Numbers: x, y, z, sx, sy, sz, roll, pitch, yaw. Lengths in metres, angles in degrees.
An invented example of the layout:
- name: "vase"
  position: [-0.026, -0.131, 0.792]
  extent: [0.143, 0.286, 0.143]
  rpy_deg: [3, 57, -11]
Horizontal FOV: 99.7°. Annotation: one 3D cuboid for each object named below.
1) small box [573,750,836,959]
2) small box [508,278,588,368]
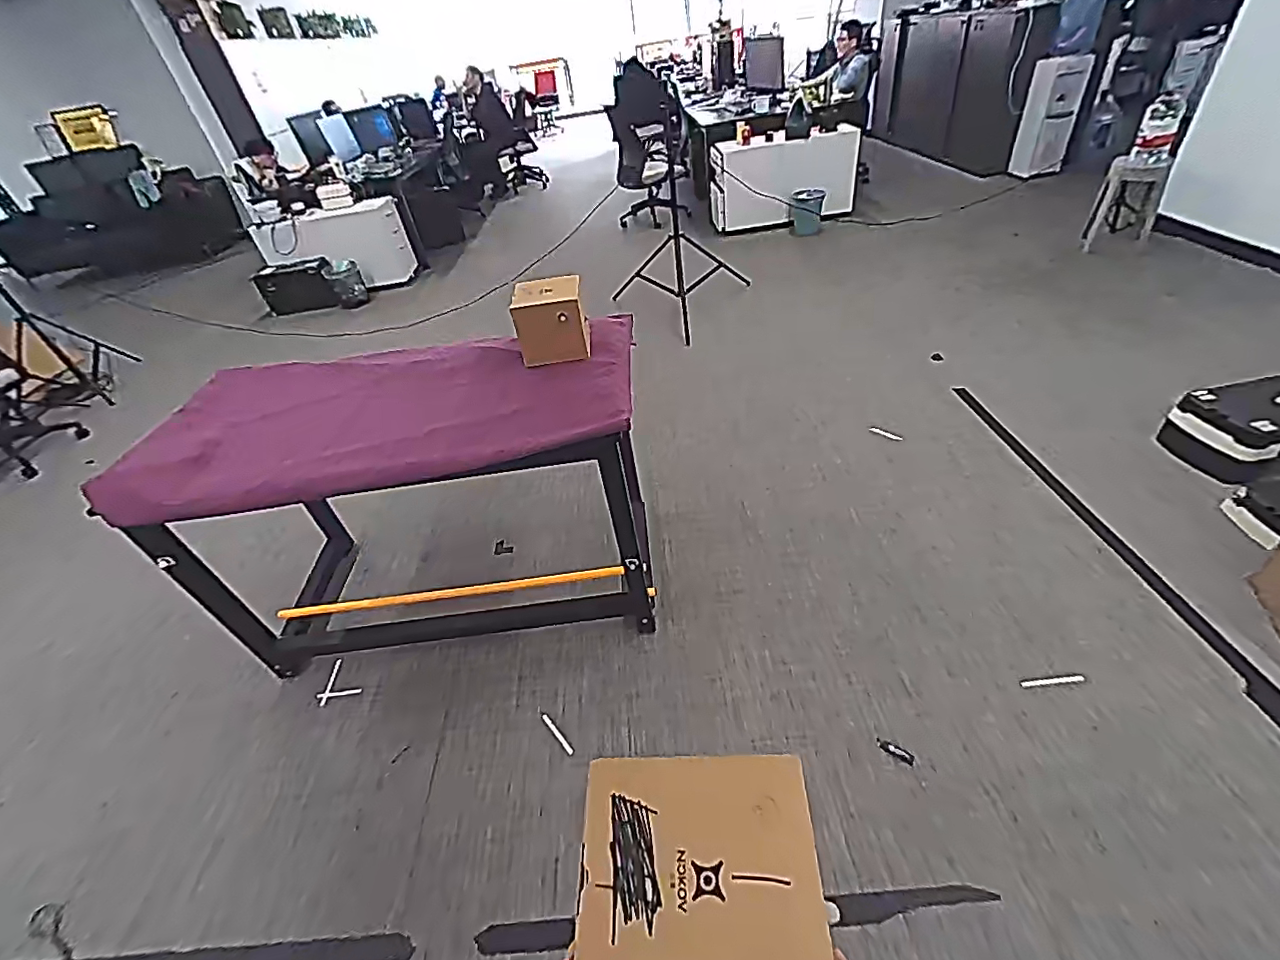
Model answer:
- name: "small box"
  position: [0.057, 0.338, 0.442]
  extent: [0.179, 0.176, 0.168]
  rpy_deg: [-6, 45, 9]
- name: "small box"
  position: [-0.238, -0.419, 1.453]
  extent: [0.179, 0.176, 0.168]
  rpy_deg: [-8, 40, 2]
